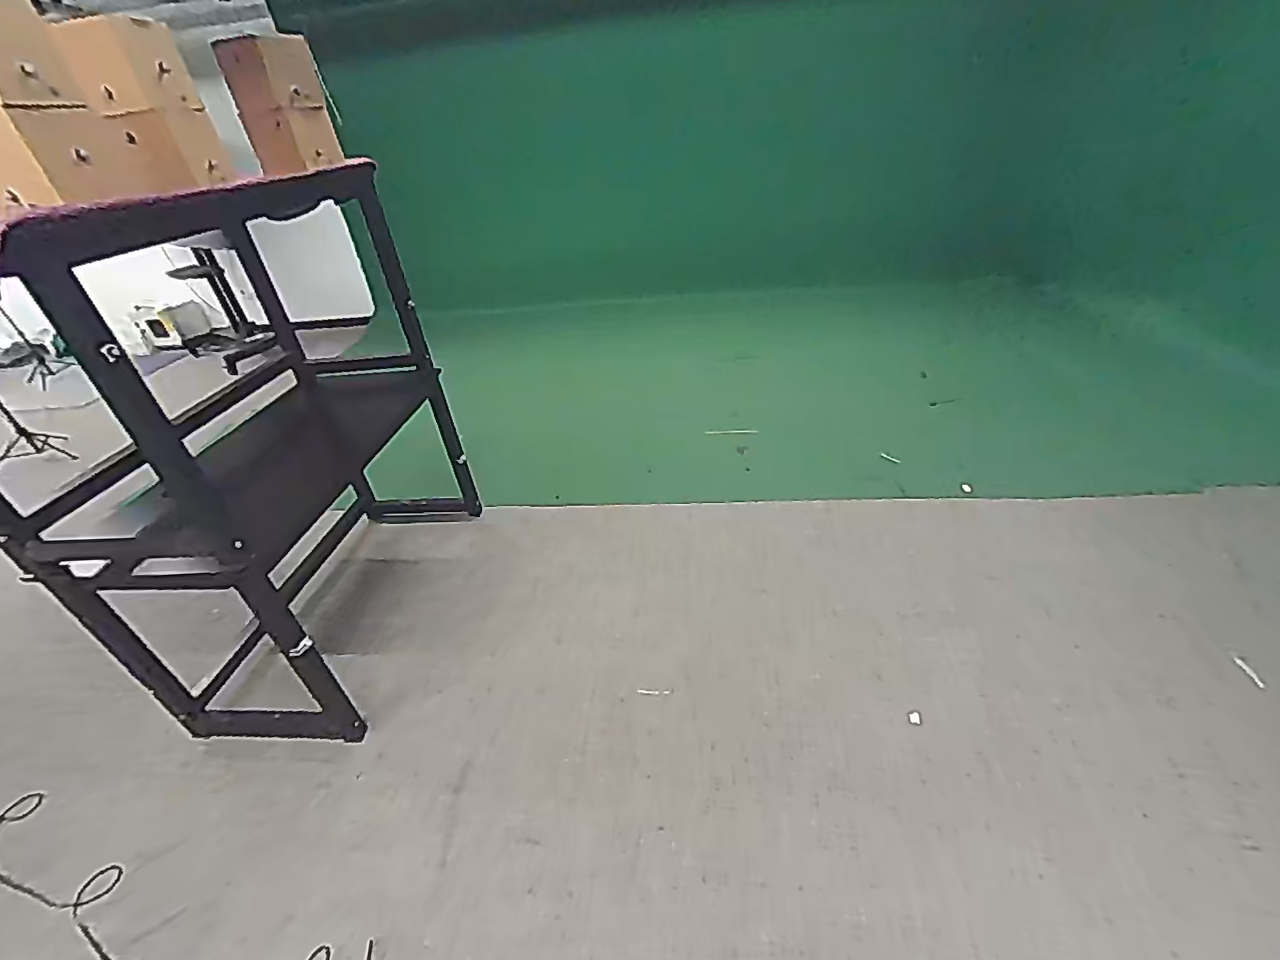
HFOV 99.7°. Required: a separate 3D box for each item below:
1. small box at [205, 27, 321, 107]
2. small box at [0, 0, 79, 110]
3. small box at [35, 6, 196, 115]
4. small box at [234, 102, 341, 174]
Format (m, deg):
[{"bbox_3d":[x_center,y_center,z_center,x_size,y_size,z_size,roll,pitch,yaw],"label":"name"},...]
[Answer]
[{"bbox_3d":[-1.055,-1.158,1.528,0.179,0.176,0.168,9,39,17],"label":"small box"},{"bbox_3d":[-1.129,-0.720,0.899,0.179,0.176,0.168,-4,35,5],"label":"small box"},{"bbox_3d":[-1.154,-0.922,1.199,0.179,0.176,0.168,-3,35,5],"label":"small box"},{"bbox_3d":[-1.050,-1.027,1.622,0.179,0.176,0.168,6,37,15],"label":"small box"}]
